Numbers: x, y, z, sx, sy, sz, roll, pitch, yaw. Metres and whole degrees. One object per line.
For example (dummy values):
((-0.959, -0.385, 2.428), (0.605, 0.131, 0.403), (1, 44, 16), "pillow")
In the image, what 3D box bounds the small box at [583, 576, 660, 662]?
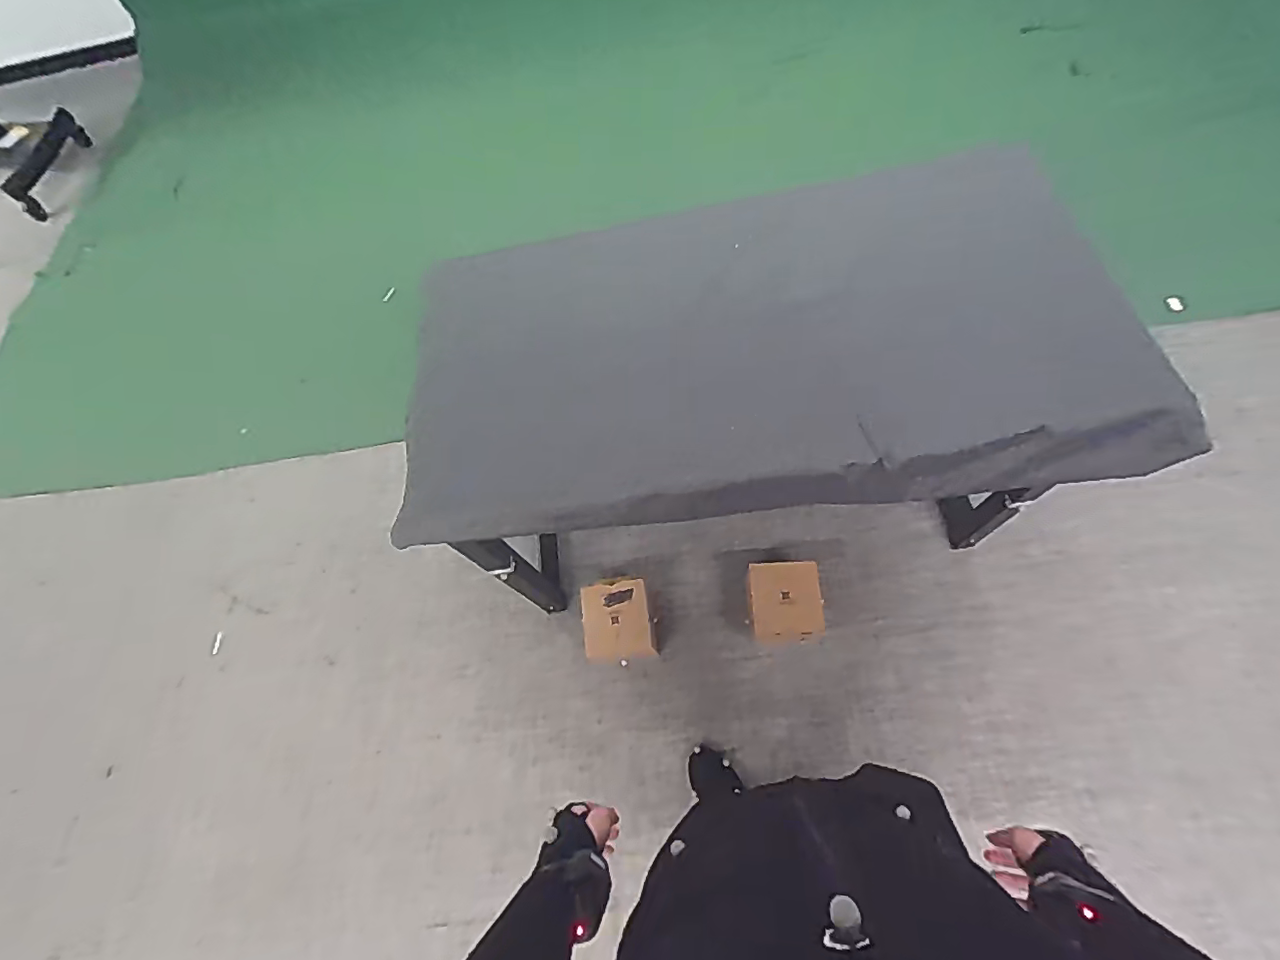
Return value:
((-0.047, 0.365, 1.402), (0.168, 0.176, 0.179), (-11, 66, 4), "small box")

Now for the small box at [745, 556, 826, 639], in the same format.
((0.362, 0.305, 1.373), (0.168, 0.176, 0.179), (-4, 64, 5), "small box")
